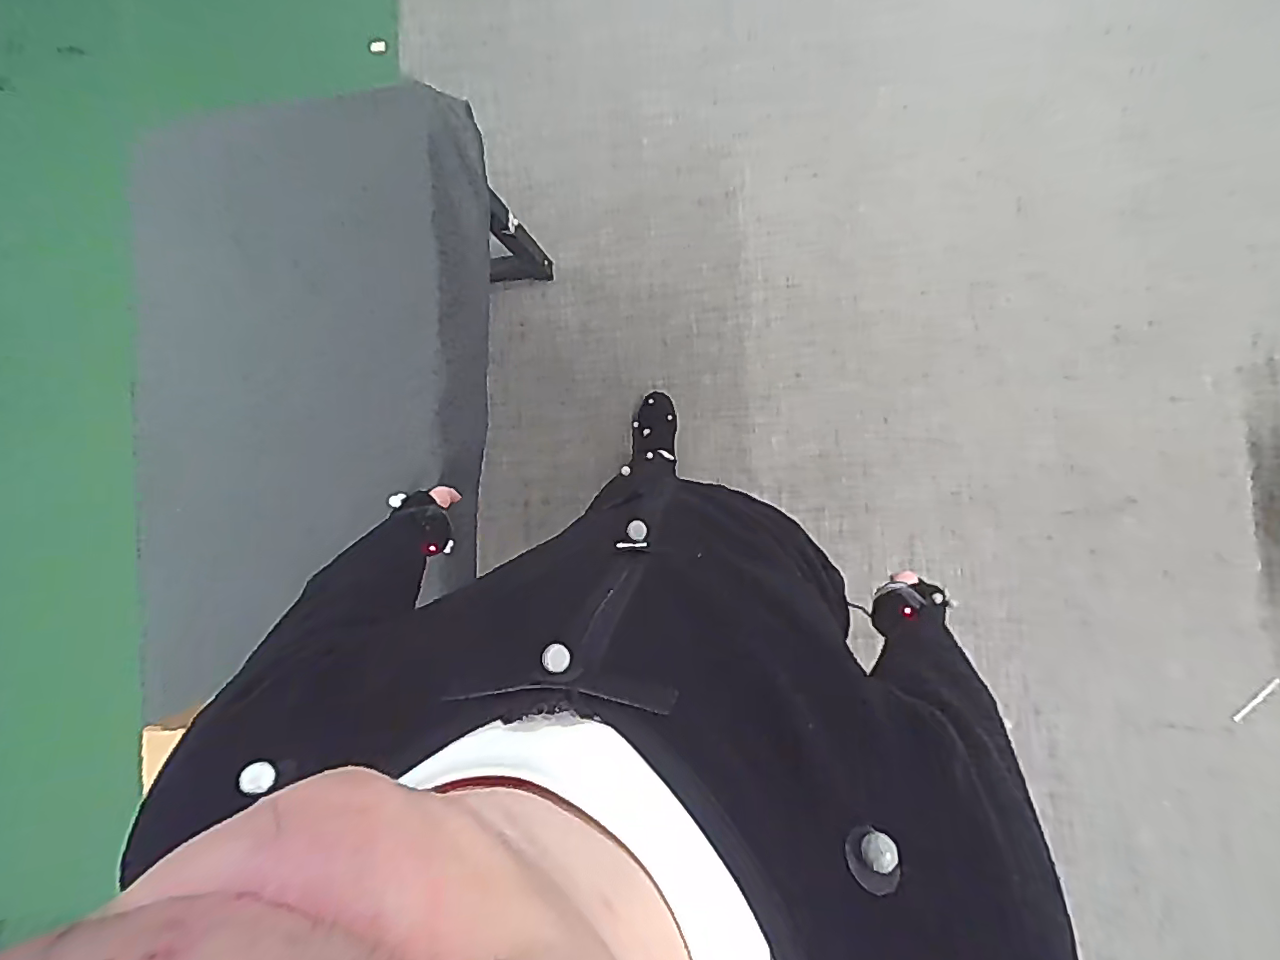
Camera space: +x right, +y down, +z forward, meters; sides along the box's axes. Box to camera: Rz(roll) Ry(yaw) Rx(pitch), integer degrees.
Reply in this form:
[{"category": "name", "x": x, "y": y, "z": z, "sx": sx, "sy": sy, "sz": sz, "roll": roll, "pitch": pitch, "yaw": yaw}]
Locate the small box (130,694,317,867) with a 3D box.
[{"category": "small box", "x": -0.637, "y": 0.452, "z": 0.845, "sx": 0.168, "sy": 0.176, "sz": 0.179, "roll": 0, "pitch": 89, "yaw": 11}]
